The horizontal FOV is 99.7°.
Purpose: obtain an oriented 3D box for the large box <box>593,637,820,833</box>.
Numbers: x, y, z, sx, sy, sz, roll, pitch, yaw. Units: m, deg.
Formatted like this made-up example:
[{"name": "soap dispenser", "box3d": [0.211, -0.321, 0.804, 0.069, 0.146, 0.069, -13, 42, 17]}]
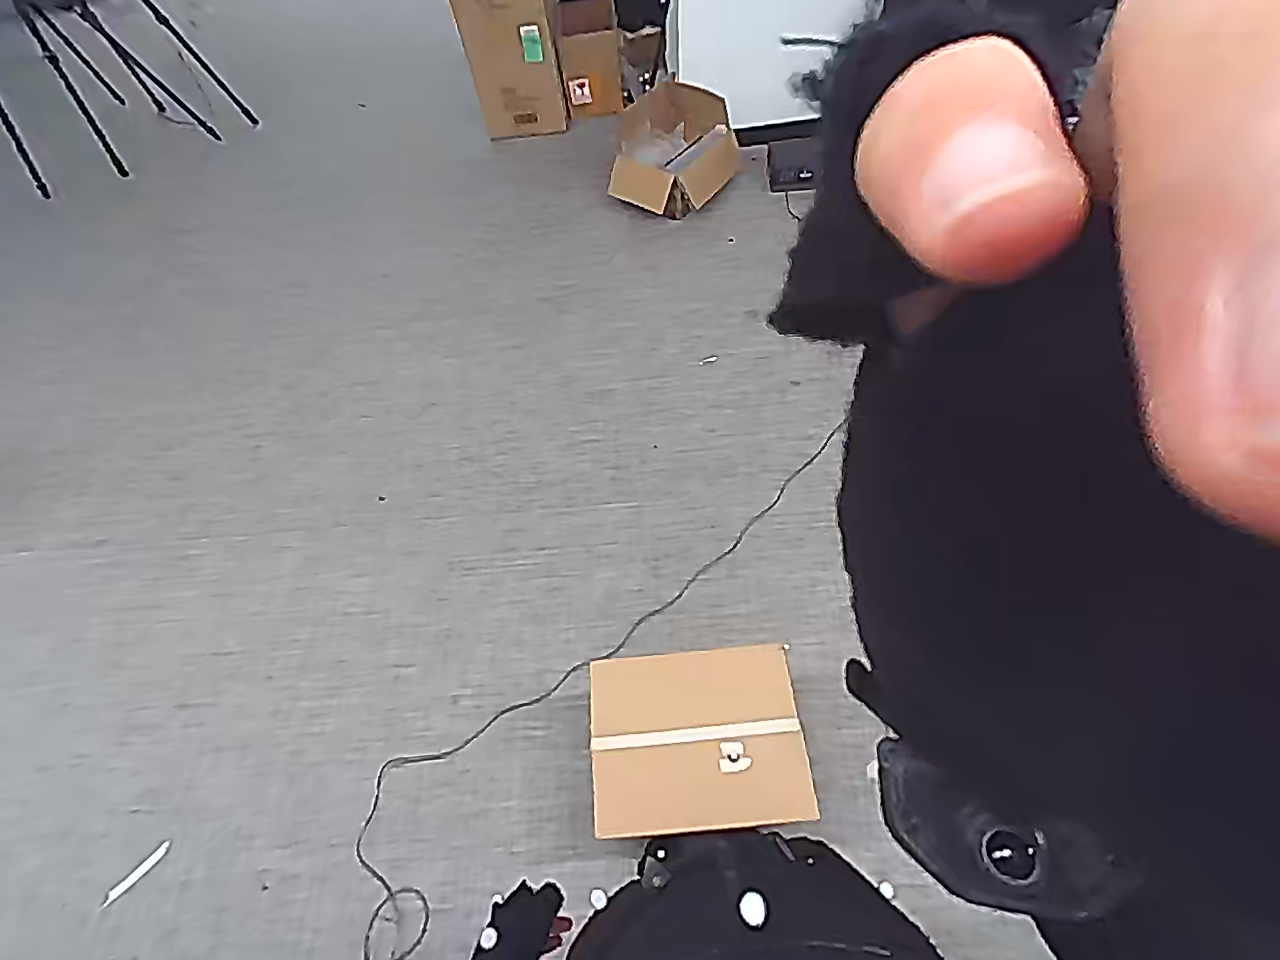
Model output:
[{"name": "large box", "box3d": [0.122, 0.554, 1.166, 0.408, 0.320, 0.320, -6, 59, 1]}]
